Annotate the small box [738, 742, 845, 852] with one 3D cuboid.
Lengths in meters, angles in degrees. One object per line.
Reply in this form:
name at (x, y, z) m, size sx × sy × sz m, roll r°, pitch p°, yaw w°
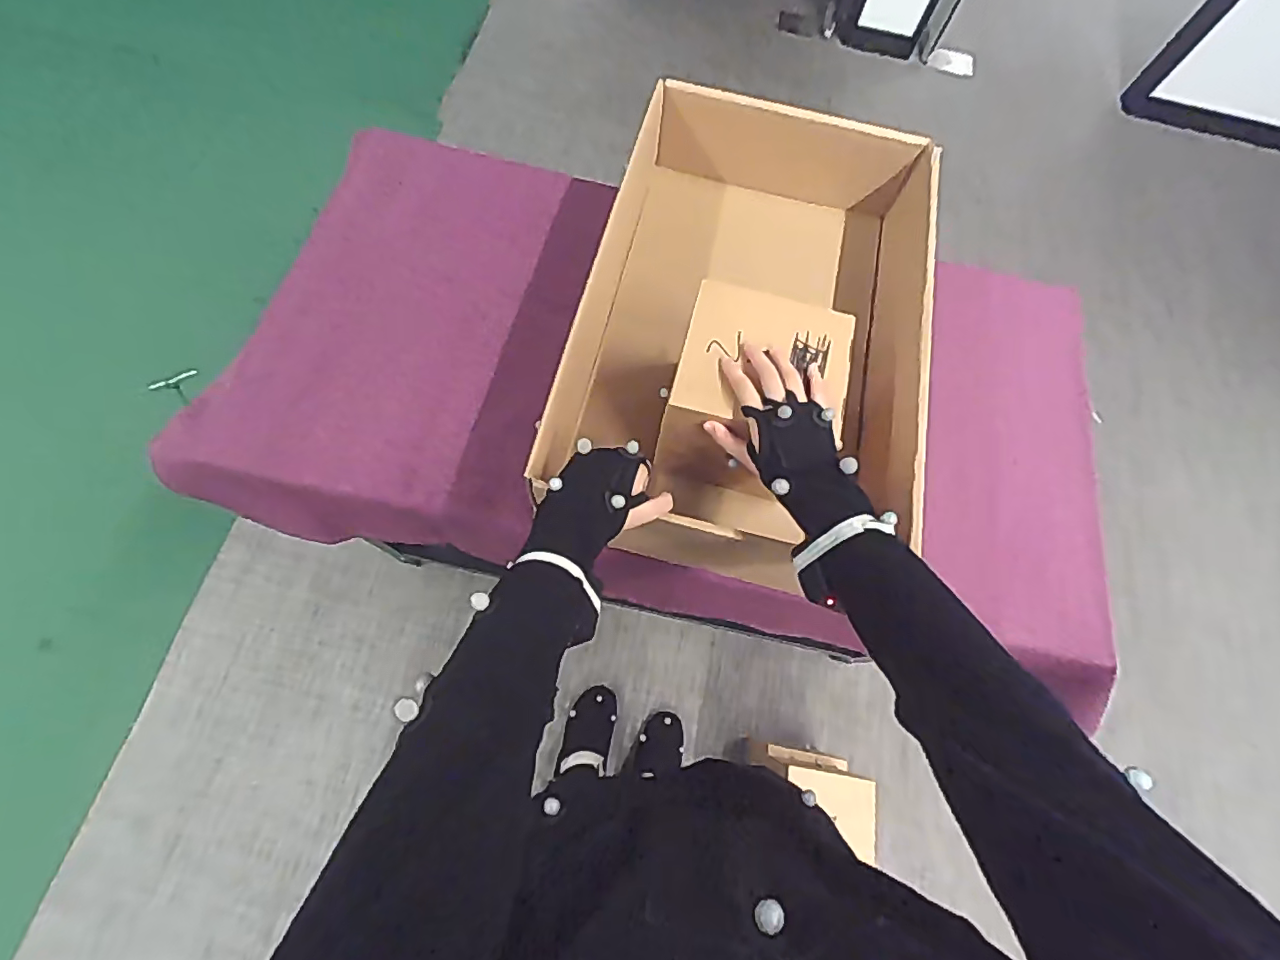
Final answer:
small box at (0.331, 0.690, 1.199) m, size 0.179 × 0.176 × 0.168 m, roll 12°, pitch 69°, yaw 1°
